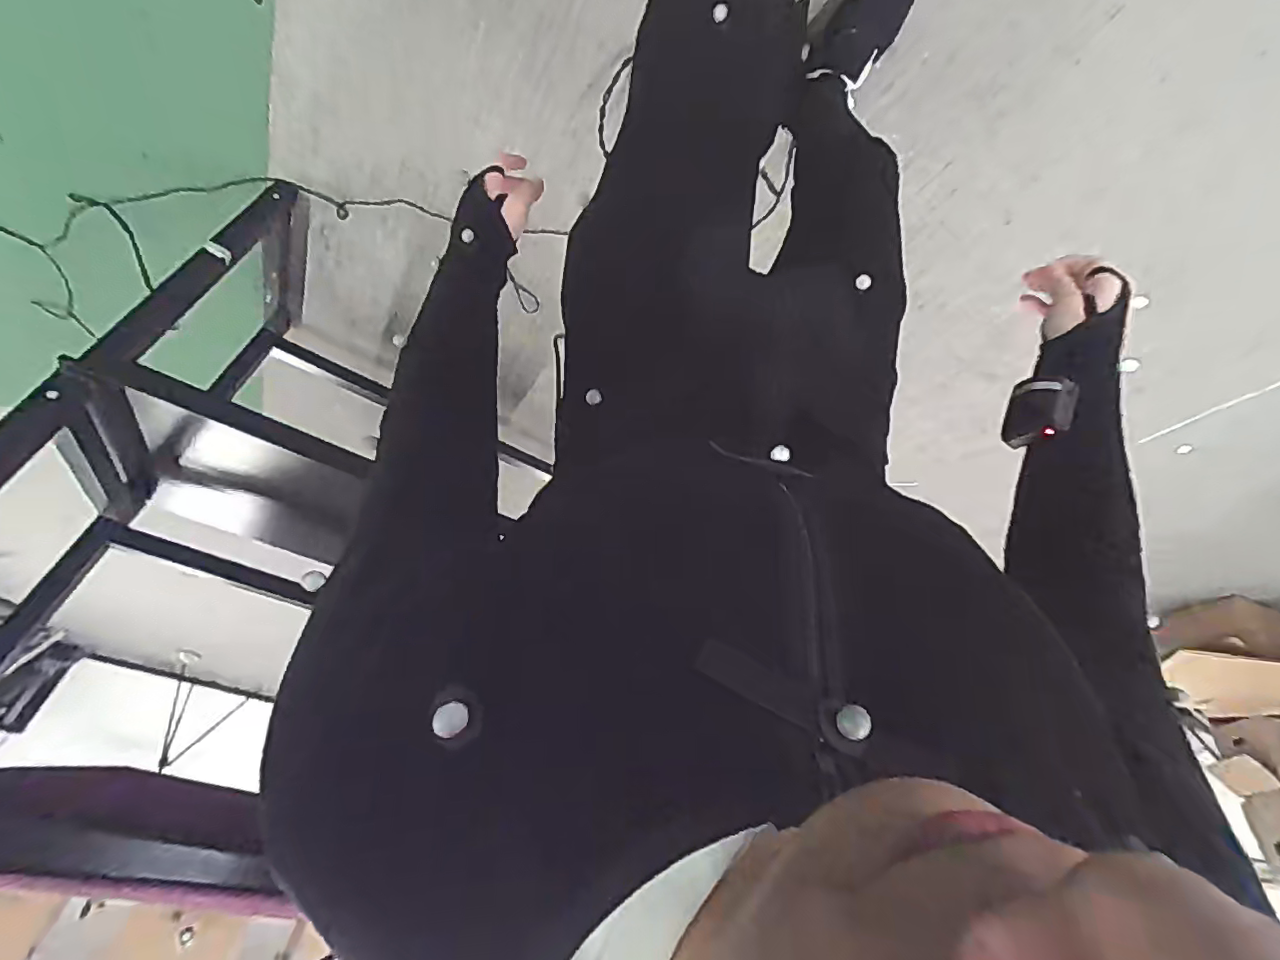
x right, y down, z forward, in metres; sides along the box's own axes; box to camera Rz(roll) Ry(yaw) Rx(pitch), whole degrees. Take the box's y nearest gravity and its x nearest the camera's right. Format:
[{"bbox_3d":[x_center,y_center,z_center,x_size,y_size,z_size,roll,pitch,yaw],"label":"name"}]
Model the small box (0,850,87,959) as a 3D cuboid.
[{"bbox_3d":[-0.966,0.645,0.780,0.168,0.176,0.179,29,142,-23],"label":"small box"}]
